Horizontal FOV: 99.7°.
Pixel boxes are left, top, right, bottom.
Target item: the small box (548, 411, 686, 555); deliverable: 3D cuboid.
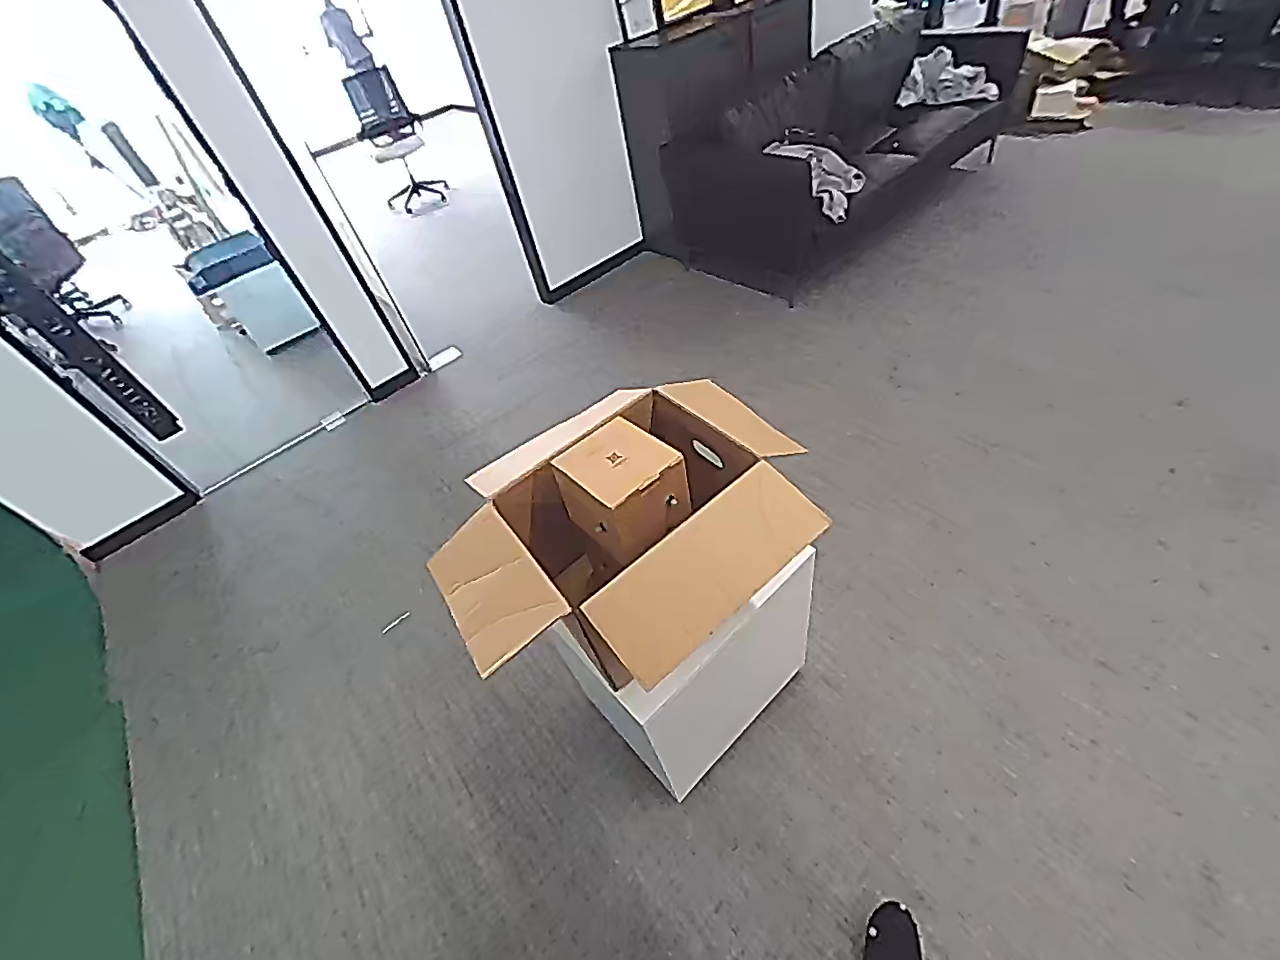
[{"bbox_3d":[-0.033,0.010,0.975,0.168,0.176,0.179,-36,48,-23],"label":"small box"}]
